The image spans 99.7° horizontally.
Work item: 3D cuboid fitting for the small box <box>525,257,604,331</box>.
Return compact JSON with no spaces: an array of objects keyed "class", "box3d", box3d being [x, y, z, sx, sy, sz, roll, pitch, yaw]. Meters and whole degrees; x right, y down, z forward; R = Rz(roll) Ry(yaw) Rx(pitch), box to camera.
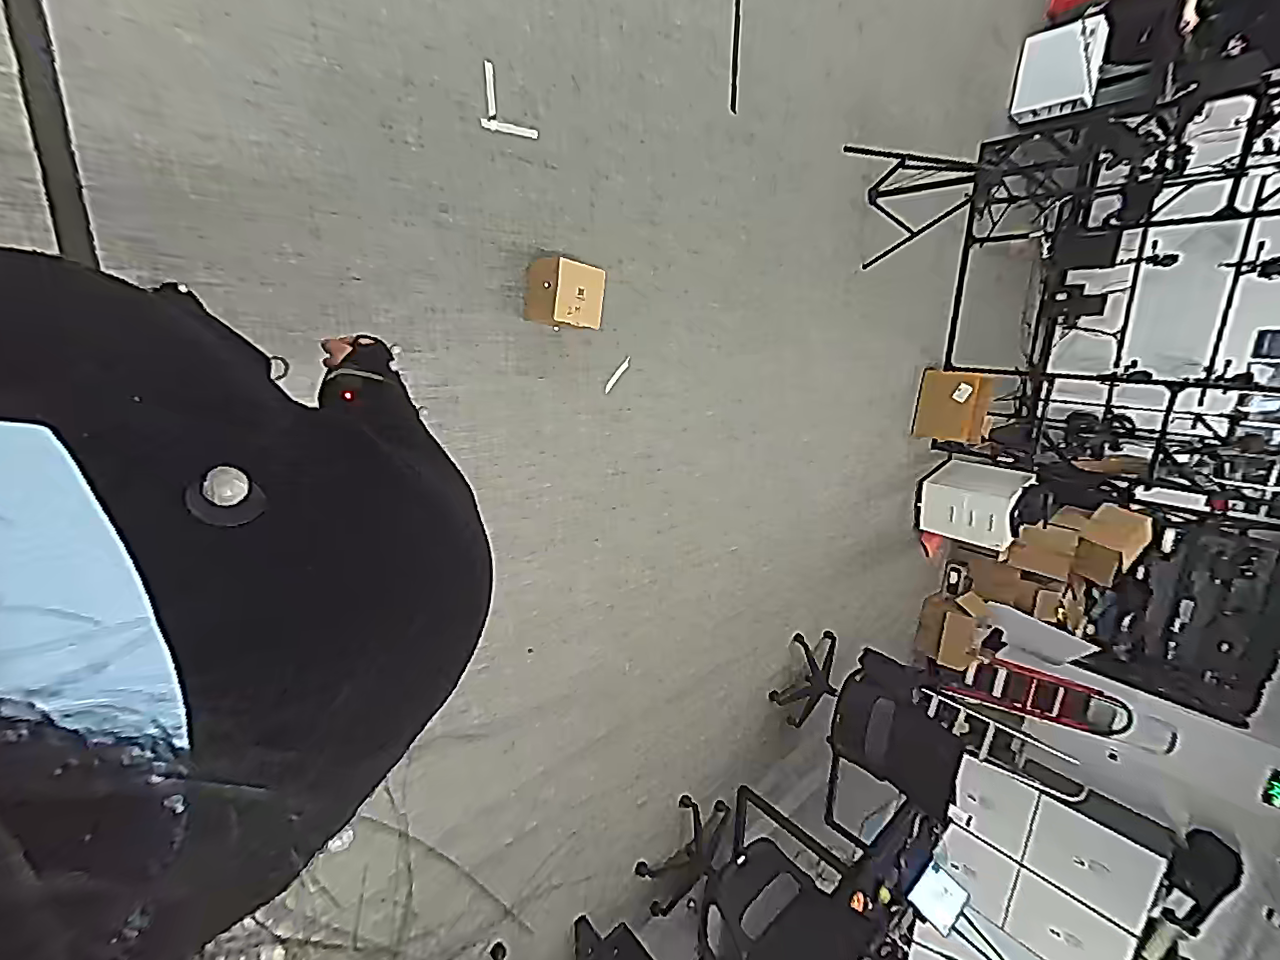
[{"class":"small box","box3d":[-0.231,-0.554,1.627,0.168,0.176,0.179,0,103,-42]}]
